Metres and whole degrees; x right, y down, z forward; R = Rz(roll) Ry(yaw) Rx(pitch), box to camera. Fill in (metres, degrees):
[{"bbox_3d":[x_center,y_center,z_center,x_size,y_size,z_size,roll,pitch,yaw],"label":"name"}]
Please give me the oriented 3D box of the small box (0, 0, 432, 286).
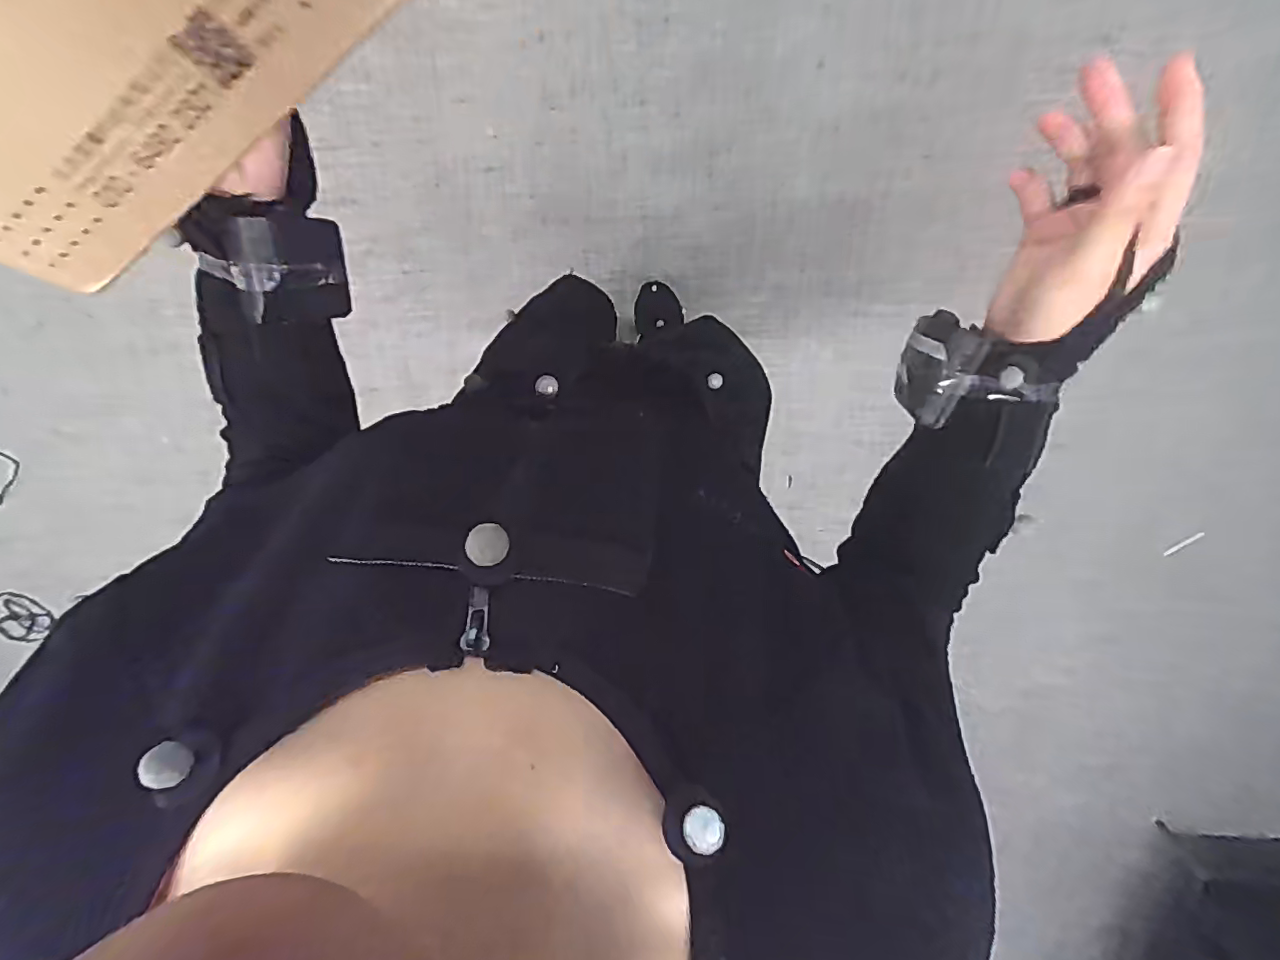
[{"bbox_3d":[-0.184,-0.192,0.140,0.168,0.176,0.179,-30,66,17],"label":"small box"}]
